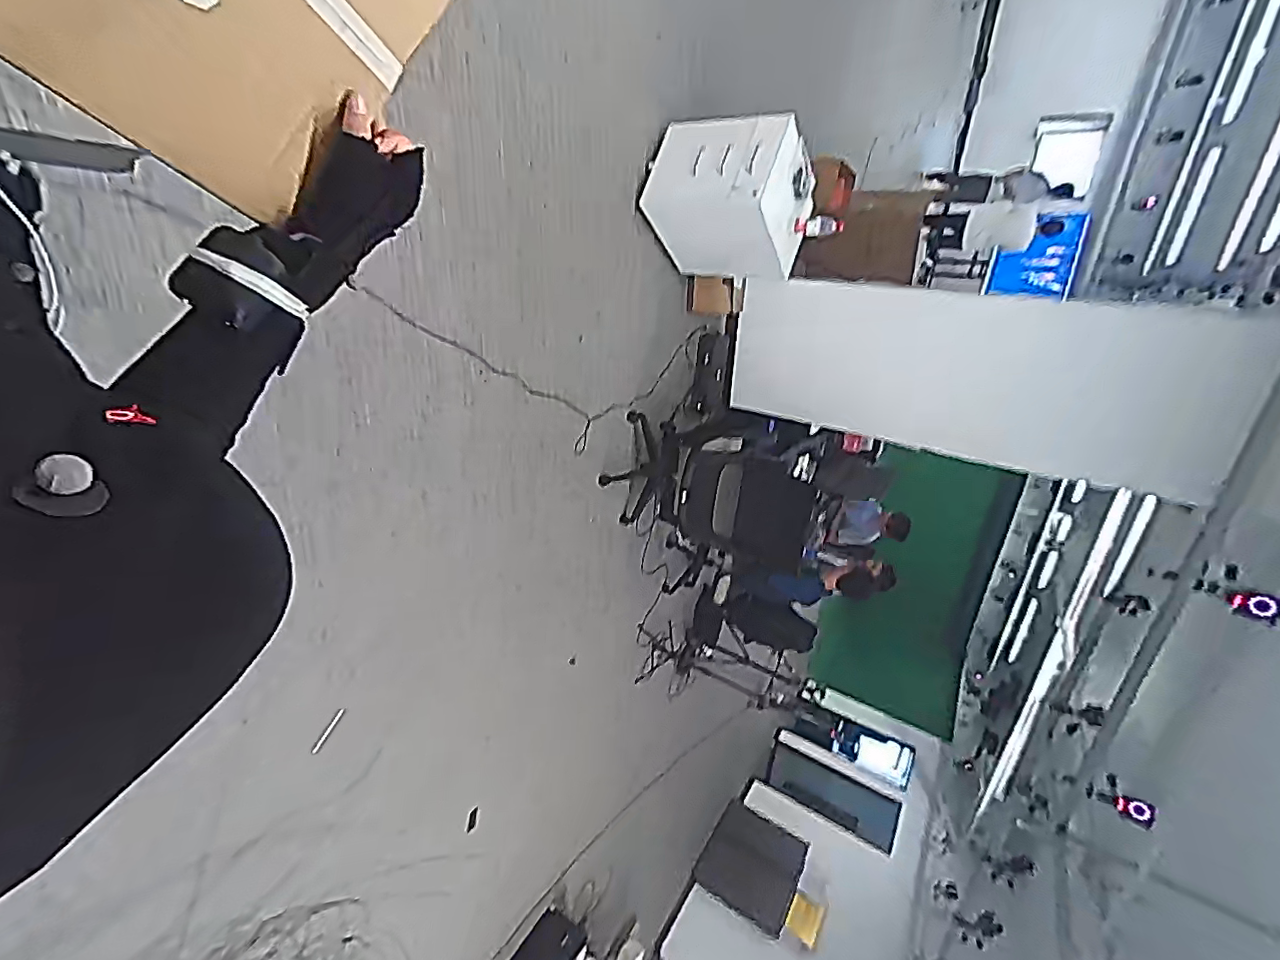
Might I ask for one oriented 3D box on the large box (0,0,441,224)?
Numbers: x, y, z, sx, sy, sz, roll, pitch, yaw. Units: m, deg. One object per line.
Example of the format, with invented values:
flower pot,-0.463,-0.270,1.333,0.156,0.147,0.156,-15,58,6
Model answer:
large box,-0.391,-0.459,0.338,0.320,0.320,0.408,-52,152,4
